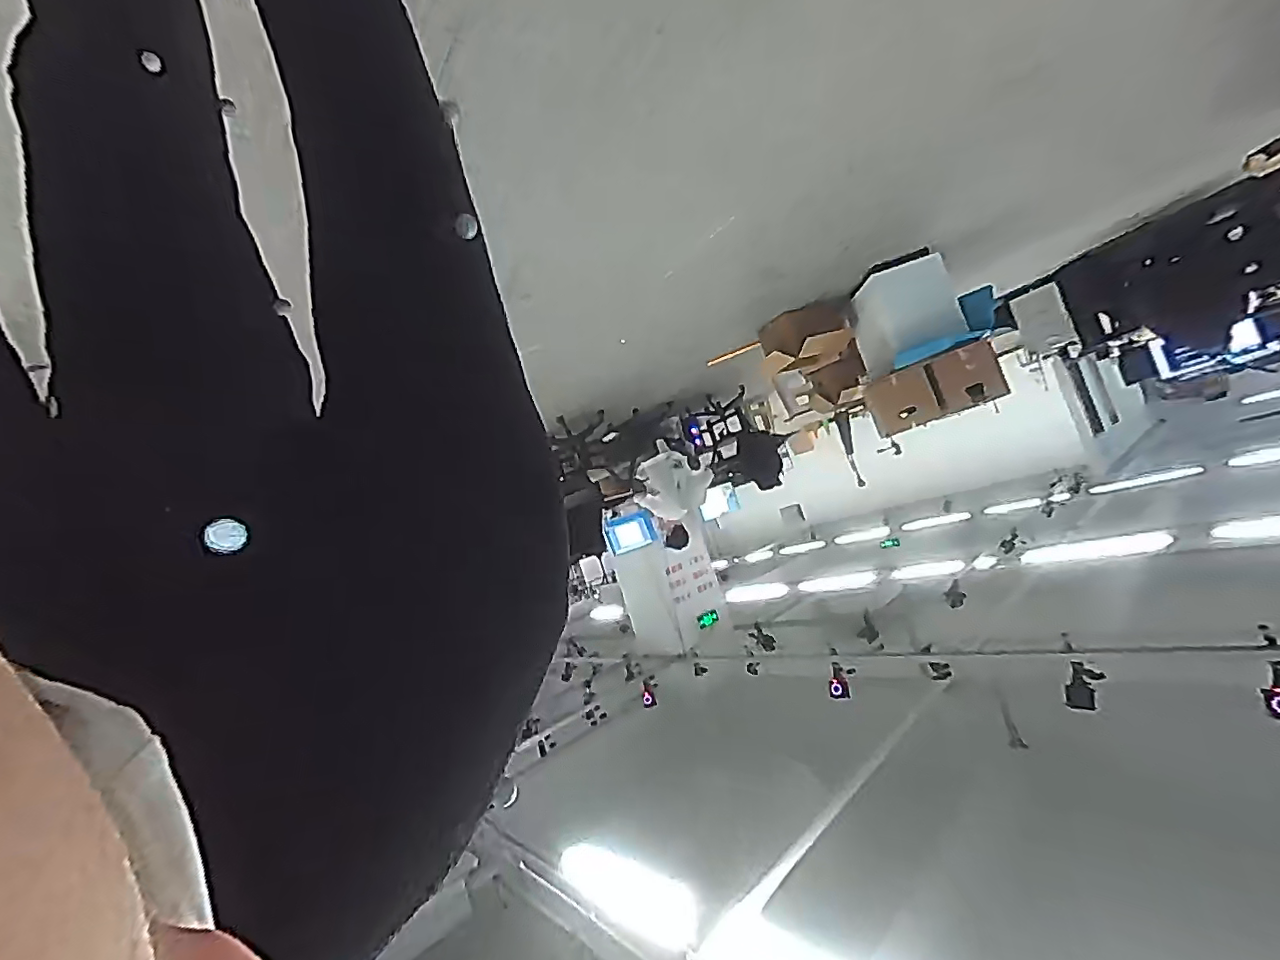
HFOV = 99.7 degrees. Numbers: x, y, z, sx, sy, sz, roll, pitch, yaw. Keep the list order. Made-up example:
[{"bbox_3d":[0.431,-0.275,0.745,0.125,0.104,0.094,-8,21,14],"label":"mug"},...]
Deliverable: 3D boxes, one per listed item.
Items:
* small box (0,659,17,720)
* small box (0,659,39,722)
[{"bbox_3d":[-1.827,0.588,1.450,0.168,0.176,0.179,-16,175,-42],"label":"small box"},{"bbox_3d":[-1.986,0.658,1.647,0.168,0.176,0.179,-15,174,-40],"label":"small box"}]
